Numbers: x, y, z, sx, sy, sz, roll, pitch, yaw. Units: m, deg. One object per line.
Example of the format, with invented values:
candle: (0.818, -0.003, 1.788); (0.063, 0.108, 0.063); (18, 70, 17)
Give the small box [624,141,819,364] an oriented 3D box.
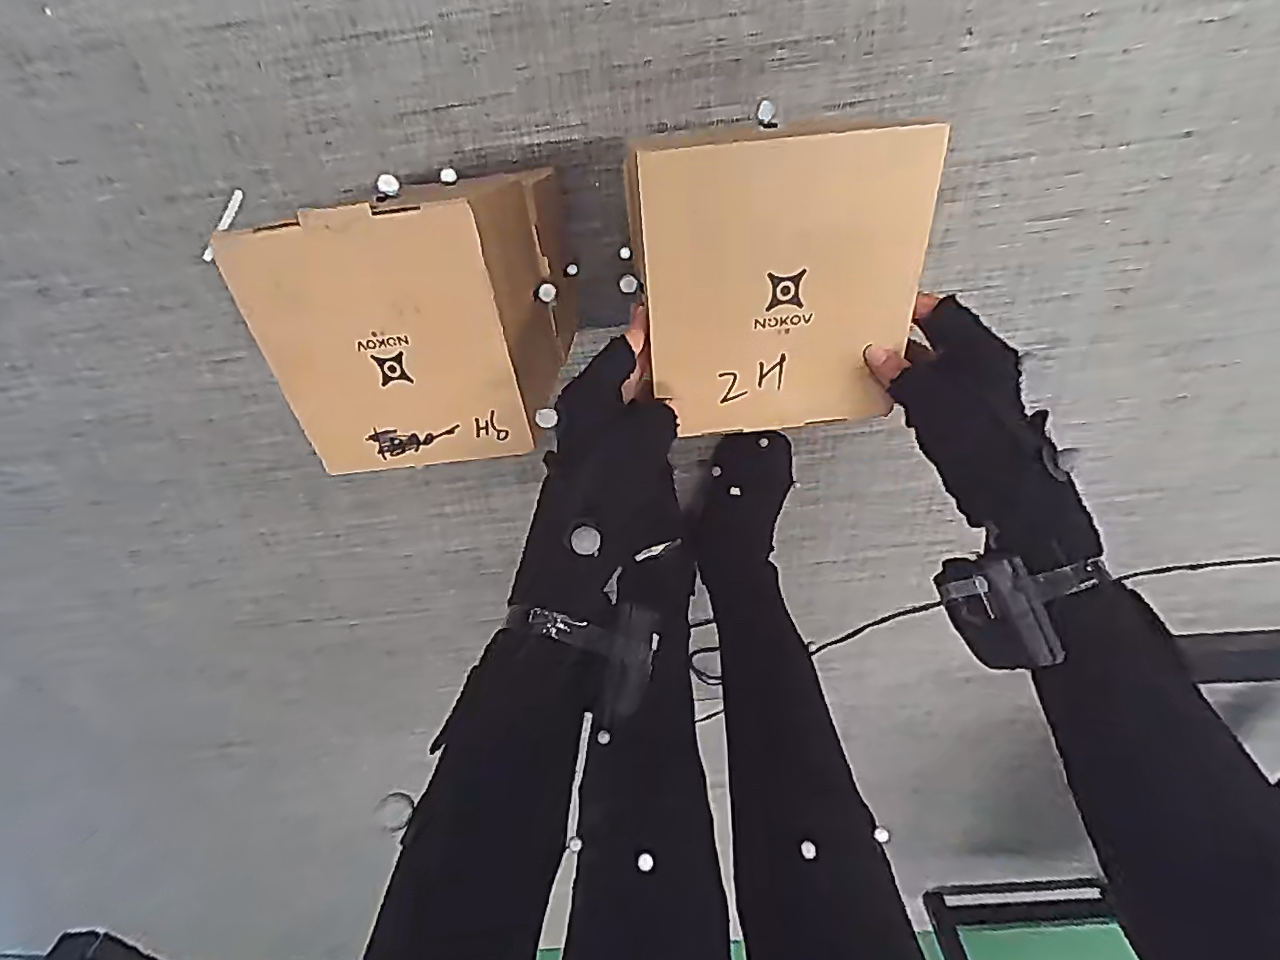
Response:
small box: (0.077, -0.240, 0.563); (0.168, 0.176, 0.179); (-6, 122, 4)
